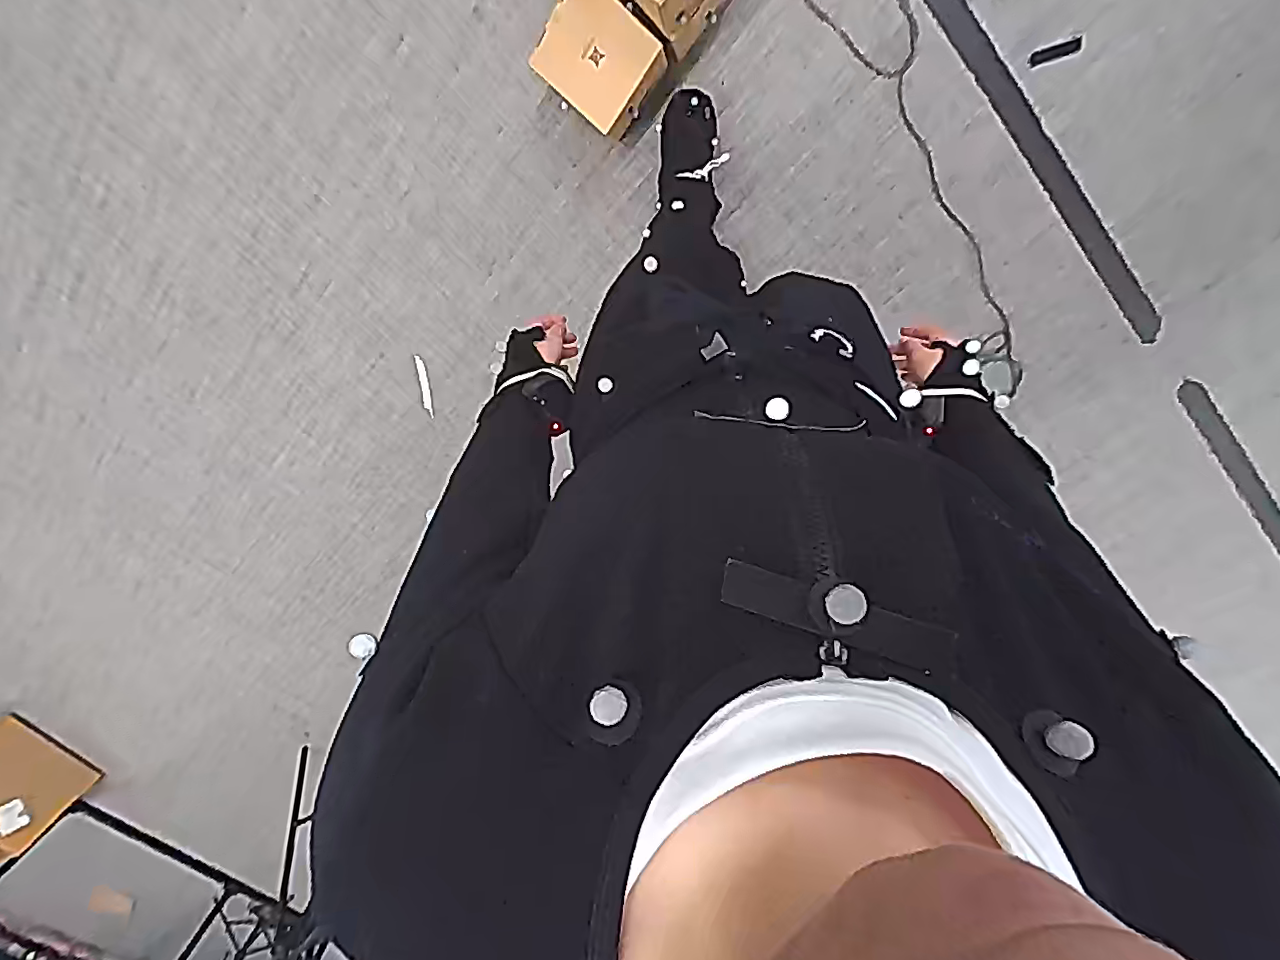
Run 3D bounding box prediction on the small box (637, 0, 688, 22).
[{"bbox_3d":[0.029,-0.797,0.758,0.179,0.176,0.168,43,114,-14],"label":"small box"}]
